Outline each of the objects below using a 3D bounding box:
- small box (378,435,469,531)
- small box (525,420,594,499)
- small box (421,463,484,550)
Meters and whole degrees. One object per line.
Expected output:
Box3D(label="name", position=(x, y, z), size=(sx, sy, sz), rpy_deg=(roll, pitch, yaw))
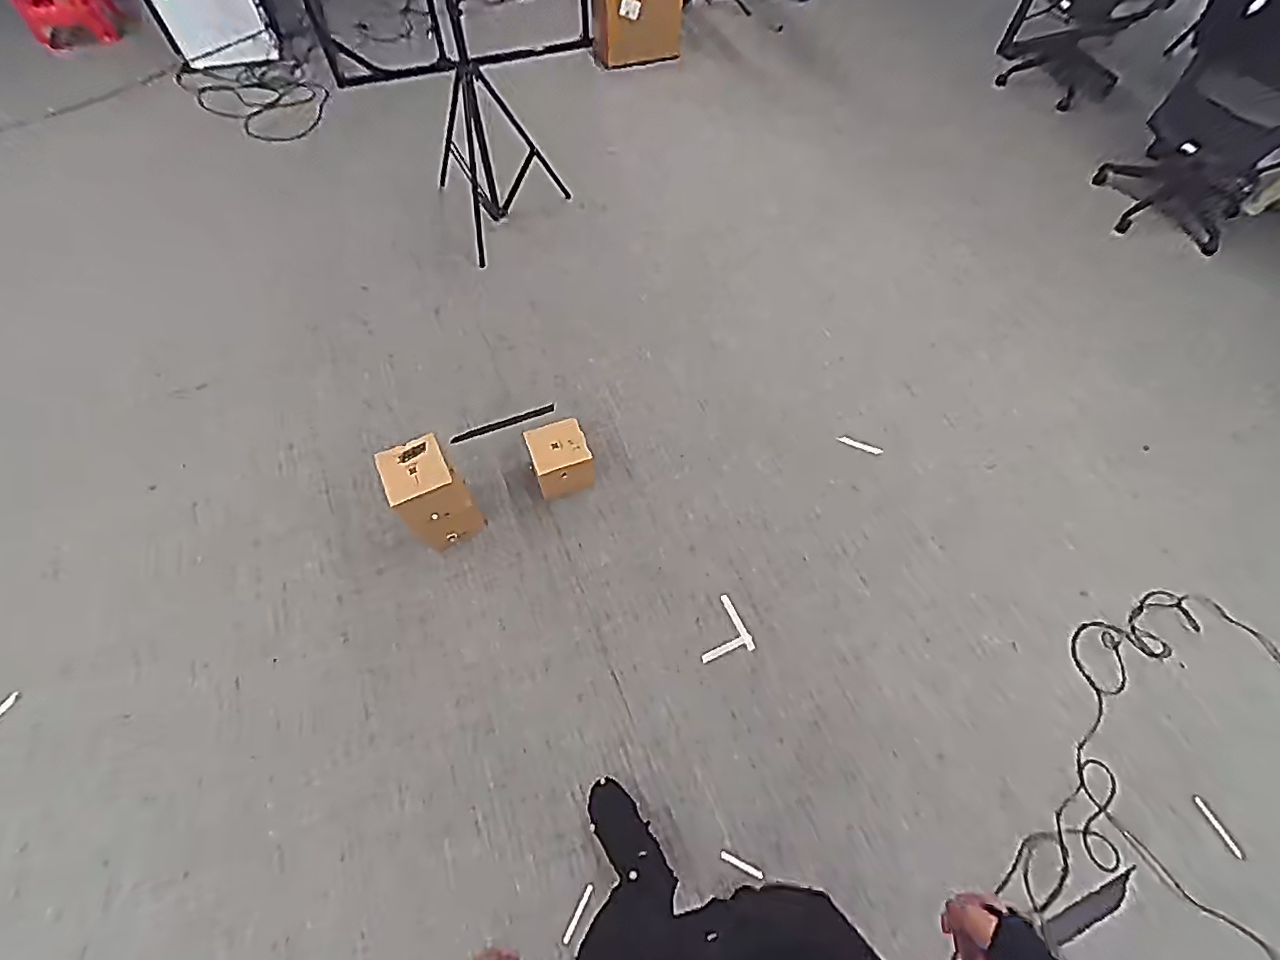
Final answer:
Box3D(label="small box", position=(-0.597, 0.012, 1.500), size=(0.168, 0.176, 0.179), rpy_deg=(-24, 65, -13))
Box3D(label="small box", position=(-0.254, -0.060, 1.737), size=(0.179, 0.176, 0.168), rpy_deg=(-18, 64, -12))
Box3D(label="small box", position=(-0.596, 0.084, 1.647), size=(0.168, 0.176, 0.179), rpy_deg=(-25, 65, -14))
